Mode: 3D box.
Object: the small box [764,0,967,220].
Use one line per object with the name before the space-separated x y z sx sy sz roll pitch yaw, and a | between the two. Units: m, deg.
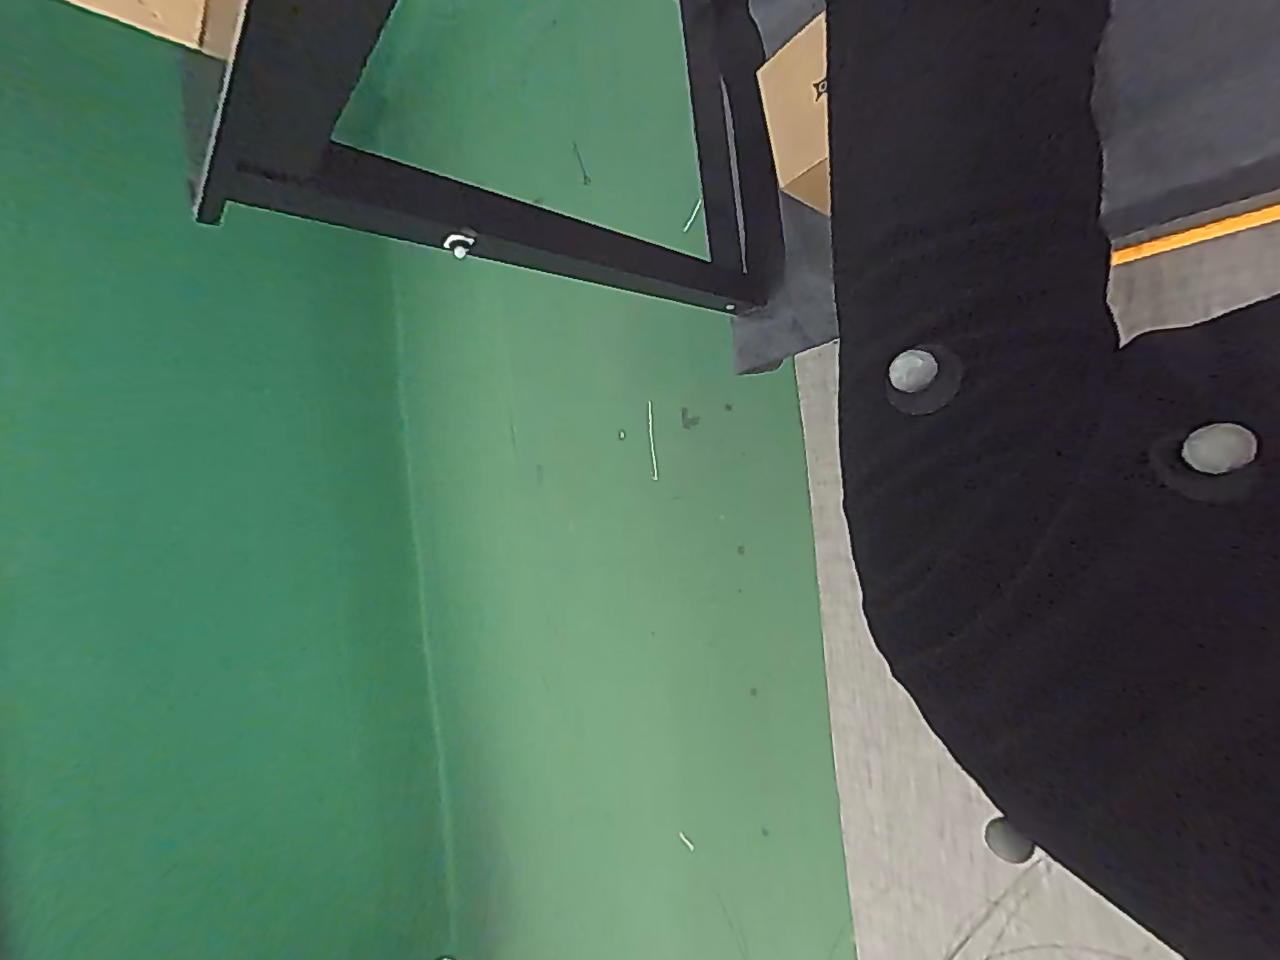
small box | 0.290 -0.470 0.700 0.179 0.176 0.168 -14 84 46
